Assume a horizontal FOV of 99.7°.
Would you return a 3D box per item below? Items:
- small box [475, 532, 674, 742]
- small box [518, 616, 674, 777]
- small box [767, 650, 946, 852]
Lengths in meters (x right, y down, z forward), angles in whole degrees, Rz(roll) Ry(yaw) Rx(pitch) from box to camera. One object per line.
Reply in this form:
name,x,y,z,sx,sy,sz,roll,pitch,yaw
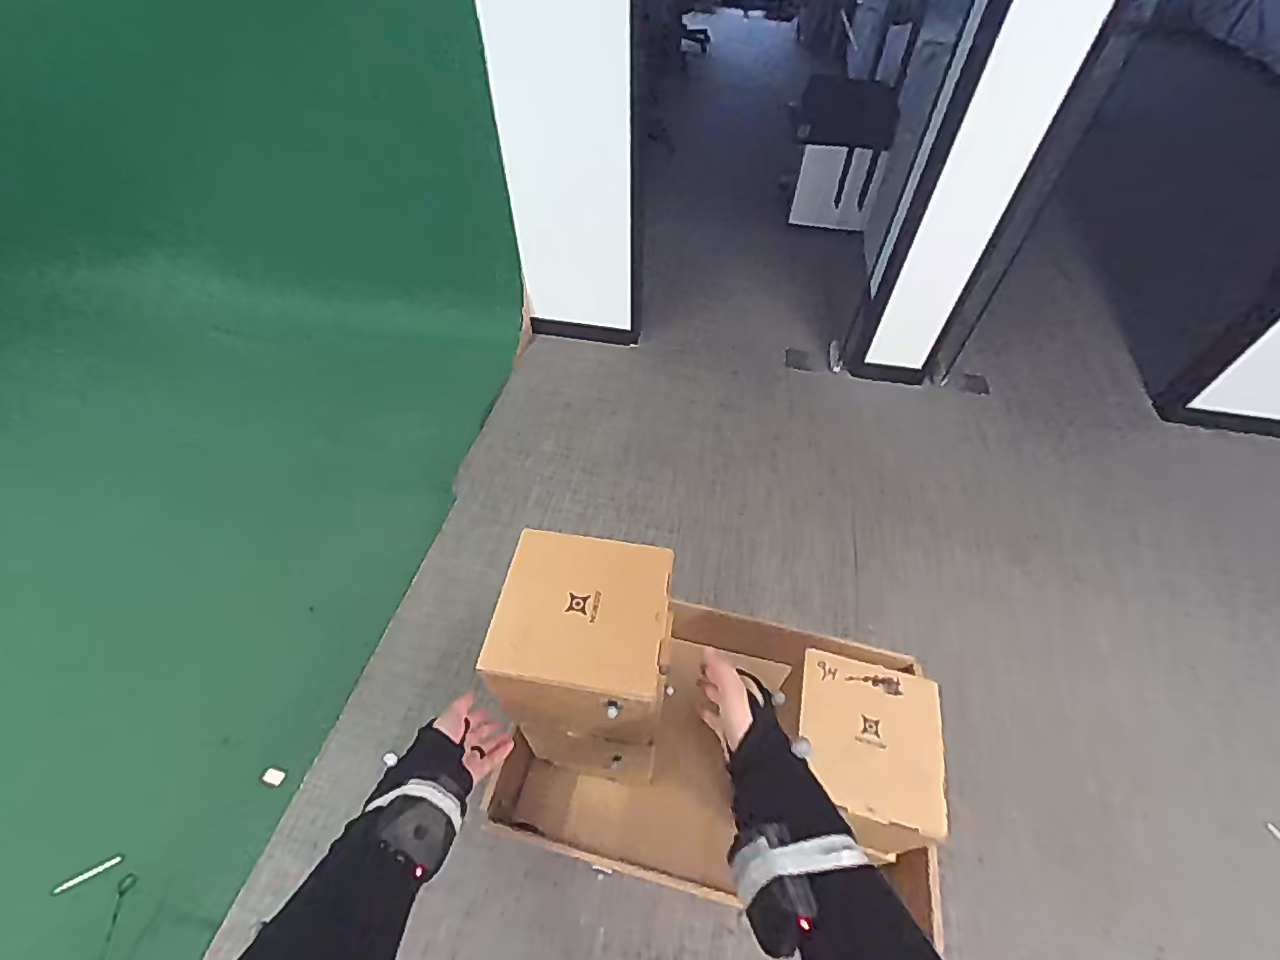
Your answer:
small box,-0.061,0.182,0.616,0.179,0.176,0.168,8,51,4
small box,-0.050,0.287,0.740,0.168,0.176,0.179,9,51,6
small box,0.266,0.350,0.691,0.168,0.176,0.179,13,53,9
